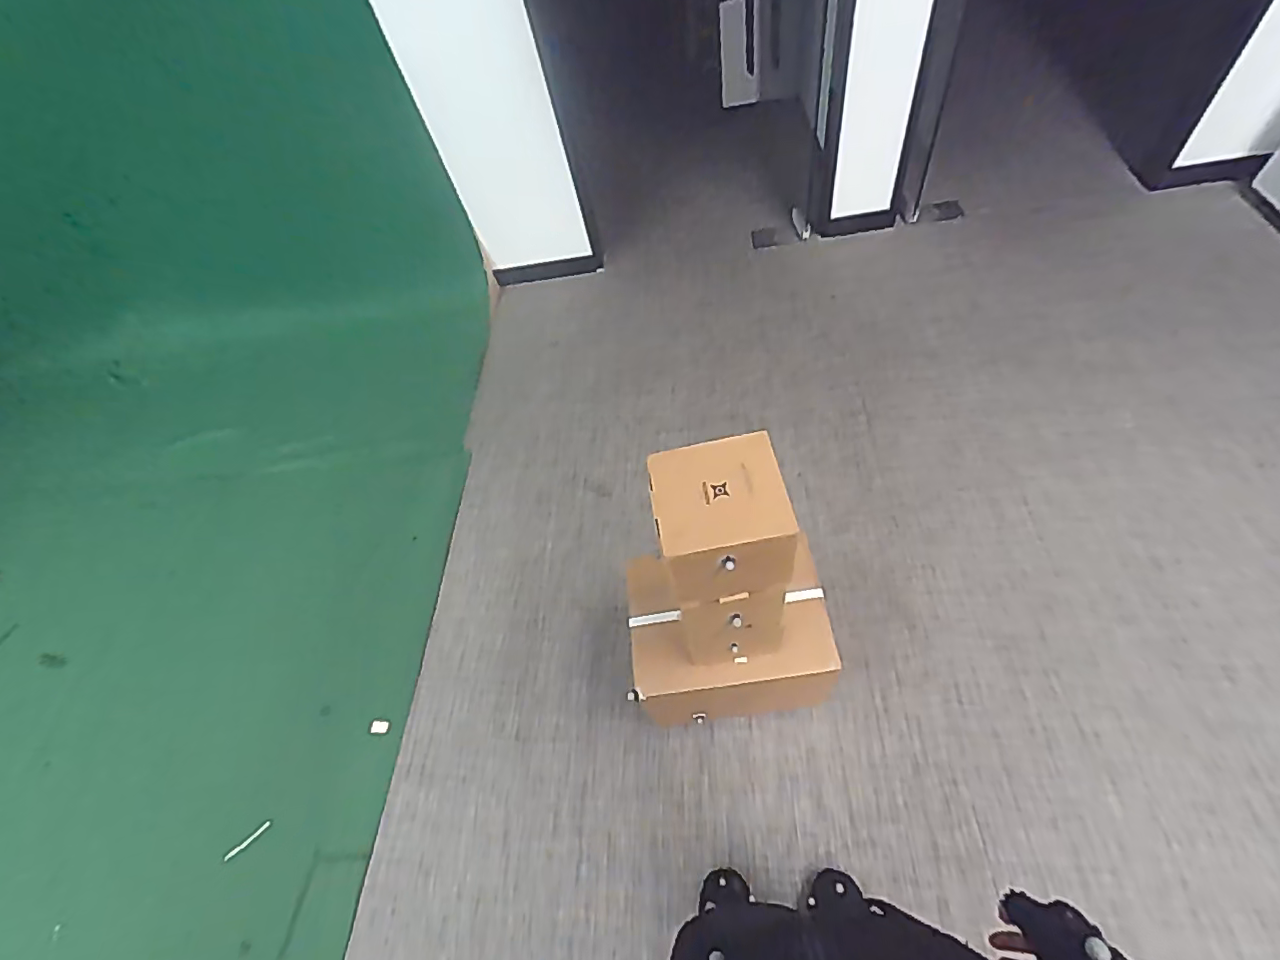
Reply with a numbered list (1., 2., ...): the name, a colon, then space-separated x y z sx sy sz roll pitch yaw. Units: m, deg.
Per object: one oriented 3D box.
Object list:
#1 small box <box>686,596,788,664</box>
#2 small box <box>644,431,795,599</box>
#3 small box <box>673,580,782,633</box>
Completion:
1. small box: 0.169 0.238 1.043 0.179 0.176 0.168 -14 55 2
2. small box: 0.112 0.058 0.777 0.179 0.176 0.168 -11 57 3
3. small box: 0.136 0.146 0.912 0.168 0.176 0.179 -12 56 4
